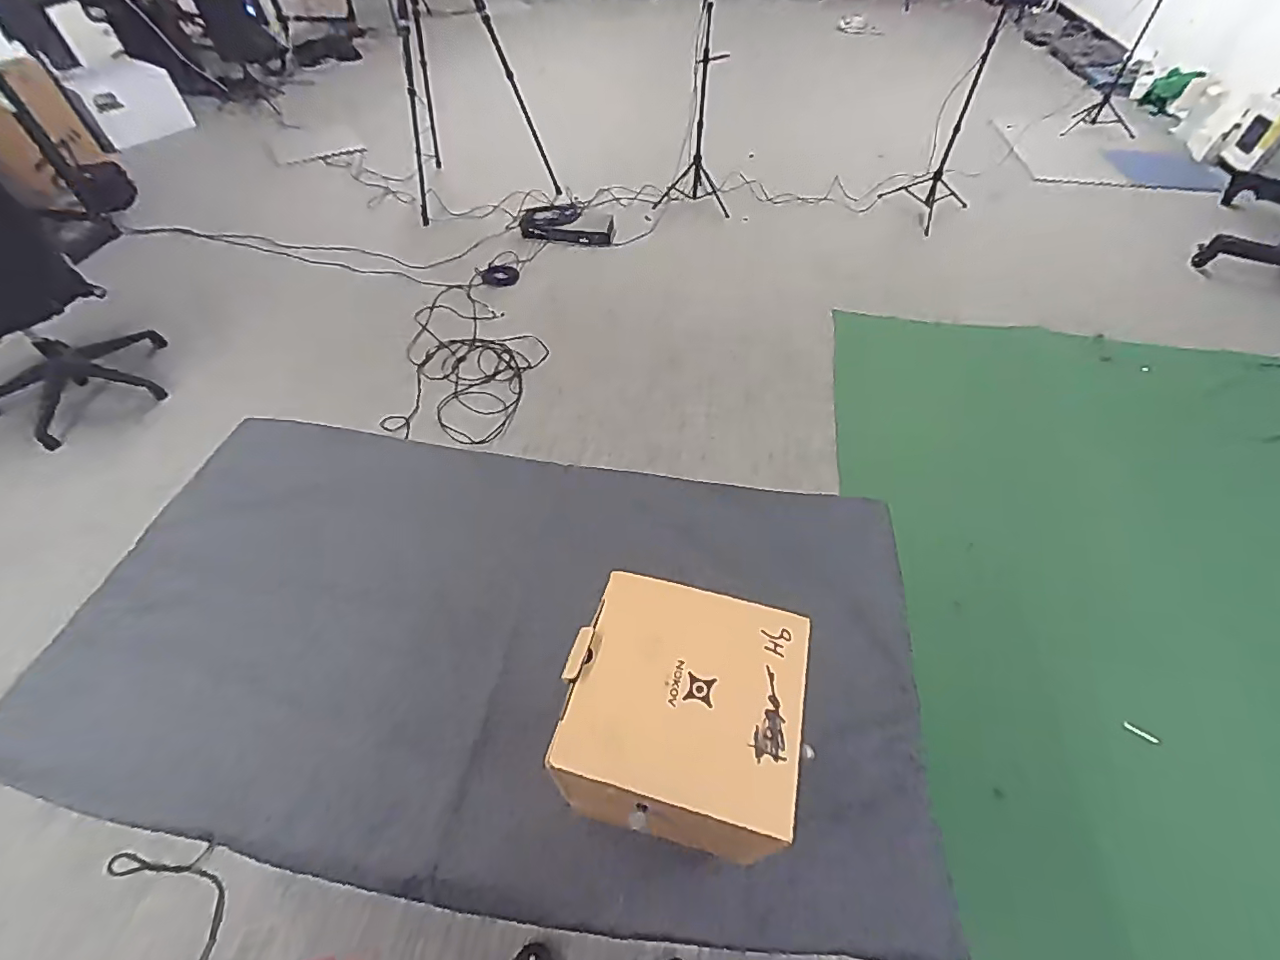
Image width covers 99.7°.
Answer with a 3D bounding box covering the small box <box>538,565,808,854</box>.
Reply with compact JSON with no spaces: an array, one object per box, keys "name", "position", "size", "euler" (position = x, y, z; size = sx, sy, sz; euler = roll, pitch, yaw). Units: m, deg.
[{"name":"small box","position":[0.033,0.201,0.469],"size":[0.179,0.176,0.168],"euler":[12,52,10]}]
